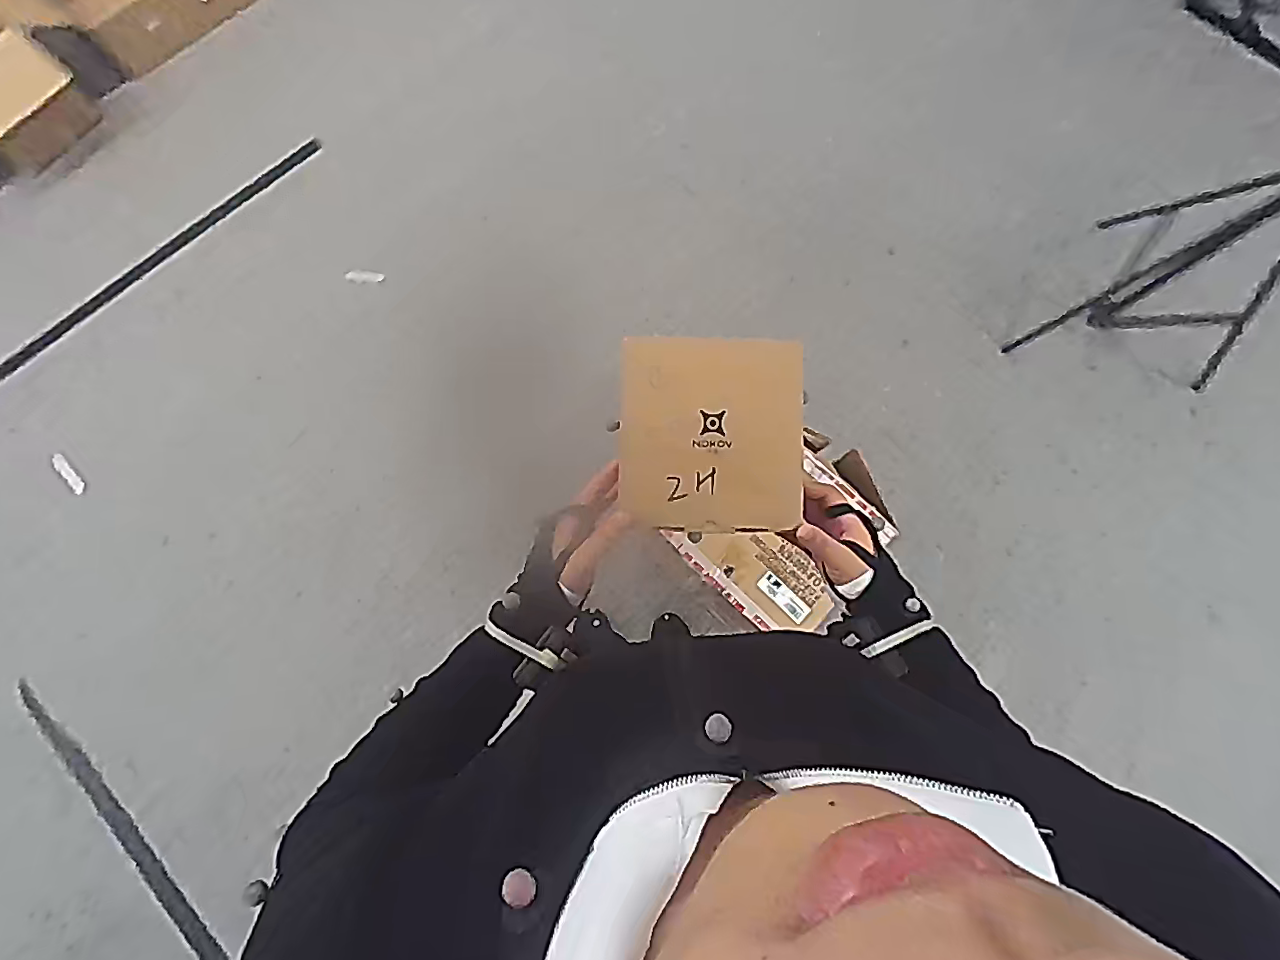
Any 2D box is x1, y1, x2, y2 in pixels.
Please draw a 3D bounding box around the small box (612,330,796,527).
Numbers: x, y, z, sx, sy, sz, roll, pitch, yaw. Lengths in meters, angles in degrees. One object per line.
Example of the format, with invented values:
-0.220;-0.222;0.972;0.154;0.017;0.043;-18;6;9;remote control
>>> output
0.055;-0.042;0.559;0.168;0.176;0.179;1;87;-1;small box
